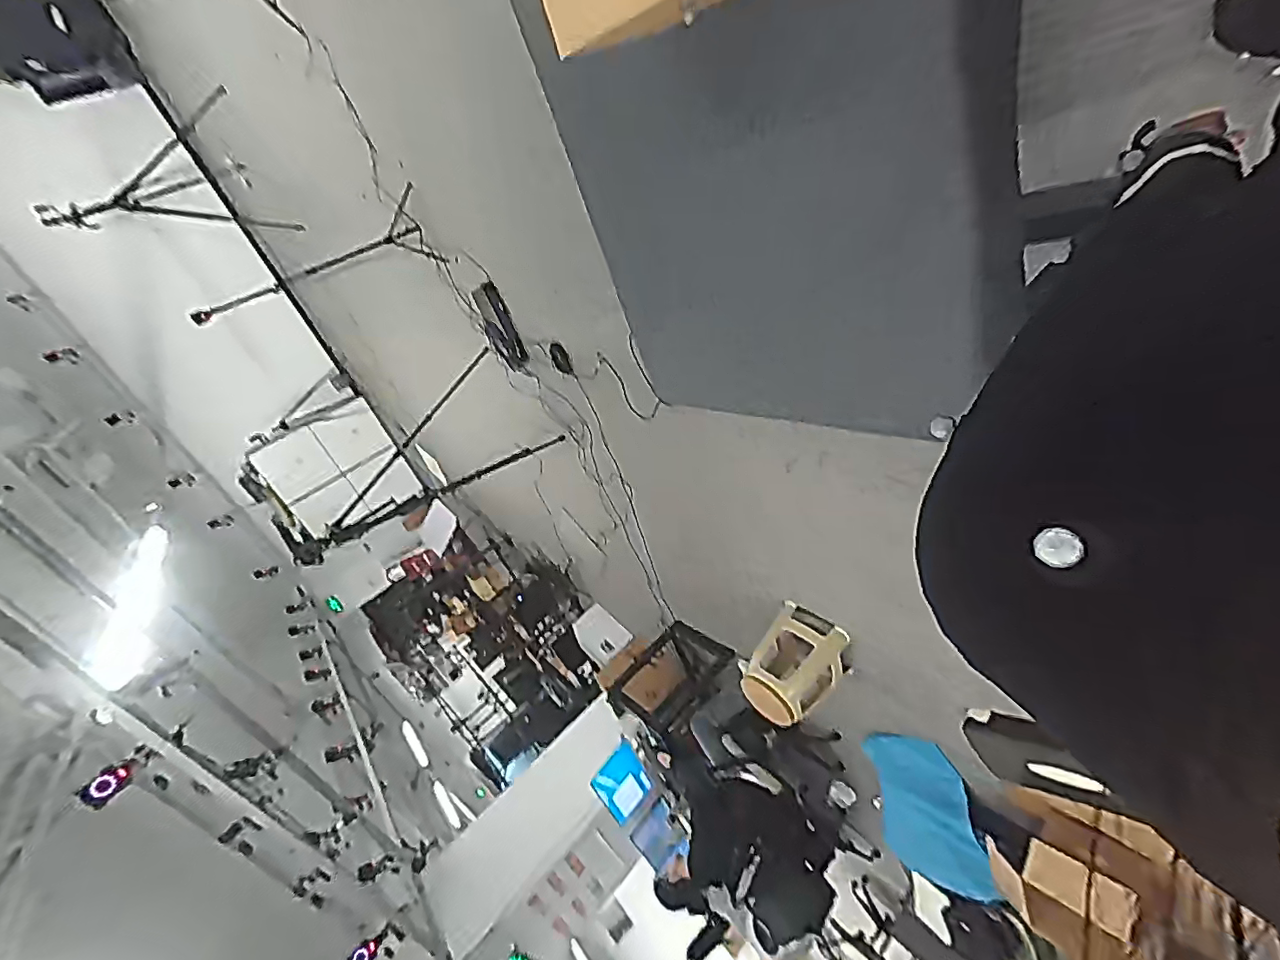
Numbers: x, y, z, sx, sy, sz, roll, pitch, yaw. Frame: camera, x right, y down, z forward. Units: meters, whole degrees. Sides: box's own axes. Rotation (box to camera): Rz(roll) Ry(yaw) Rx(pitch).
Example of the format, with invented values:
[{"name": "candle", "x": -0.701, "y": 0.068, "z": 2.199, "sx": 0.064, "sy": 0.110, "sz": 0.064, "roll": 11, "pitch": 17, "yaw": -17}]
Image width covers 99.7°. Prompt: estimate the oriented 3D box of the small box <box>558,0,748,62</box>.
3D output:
[{"name": "small box", "x": 0.017, "y": -0.558, "z": 0.540, "sx": 0.179, "sy": 0.176, "sz": 0.168, "roll": 23, "pitch": 140, "yaw": 48}]
